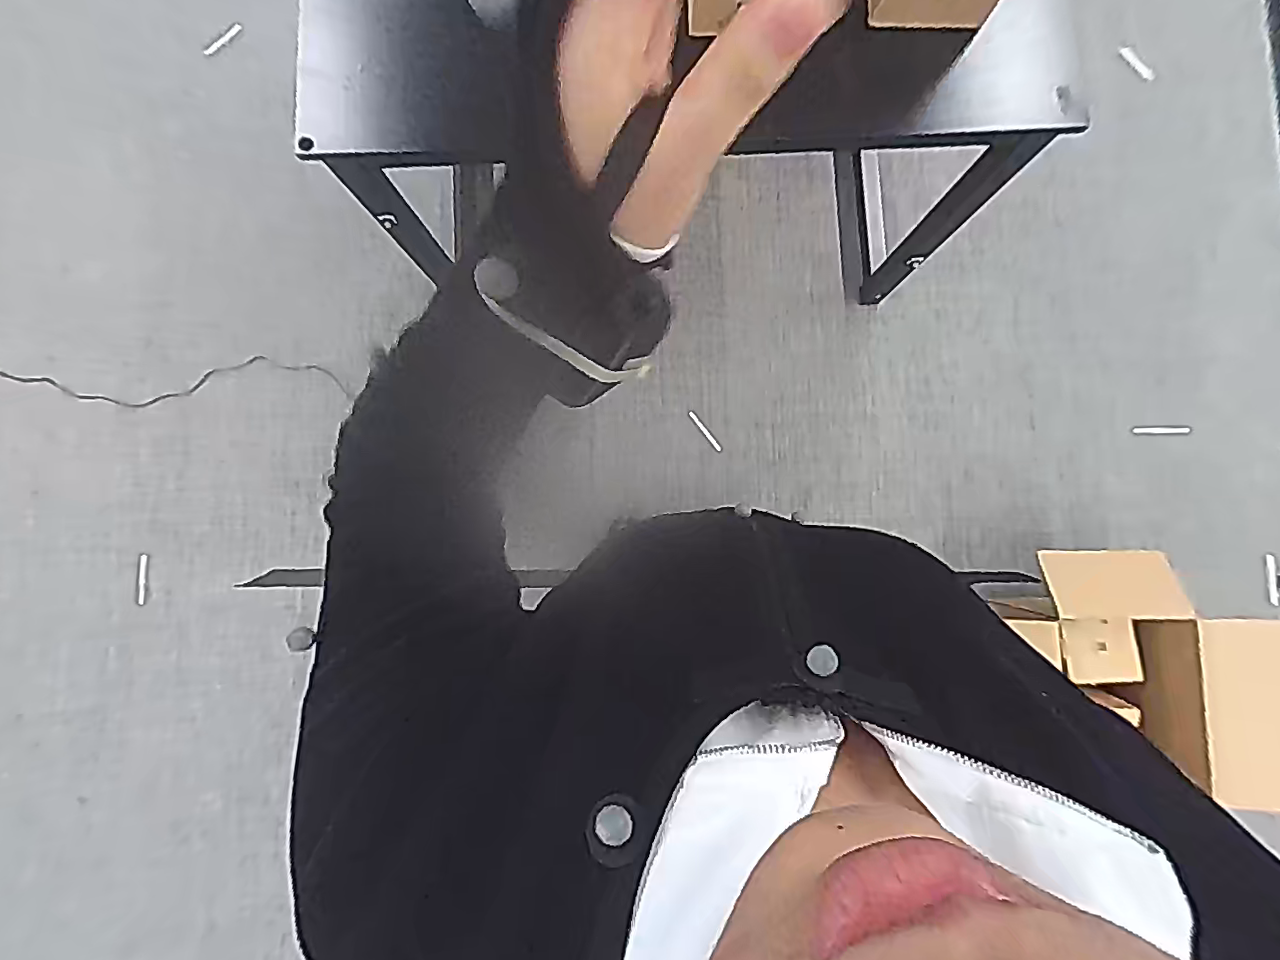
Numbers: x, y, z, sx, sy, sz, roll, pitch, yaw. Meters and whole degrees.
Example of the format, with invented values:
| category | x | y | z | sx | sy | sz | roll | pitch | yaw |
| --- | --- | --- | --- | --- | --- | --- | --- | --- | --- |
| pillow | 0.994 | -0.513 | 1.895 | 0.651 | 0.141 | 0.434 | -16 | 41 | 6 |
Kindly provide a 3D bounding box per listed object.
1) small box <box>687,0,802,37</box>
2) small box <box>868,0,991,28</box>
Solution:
| category | x | y | z | sx | sy | sz | roll | pitch | yaw |
| --- | --- | --- | --- | --- | --- | --- | --- | --- | --- |
| small box | 0.153 | -0.777 | 0.759 | 0.168 | 0.176 | 0.179 | -1 | 86 | 1 |
| small box | 0.434 | -0.780 | 0.756 | 0.179 | 0.176 | 0.168 | 2 | 86 | 2 |
